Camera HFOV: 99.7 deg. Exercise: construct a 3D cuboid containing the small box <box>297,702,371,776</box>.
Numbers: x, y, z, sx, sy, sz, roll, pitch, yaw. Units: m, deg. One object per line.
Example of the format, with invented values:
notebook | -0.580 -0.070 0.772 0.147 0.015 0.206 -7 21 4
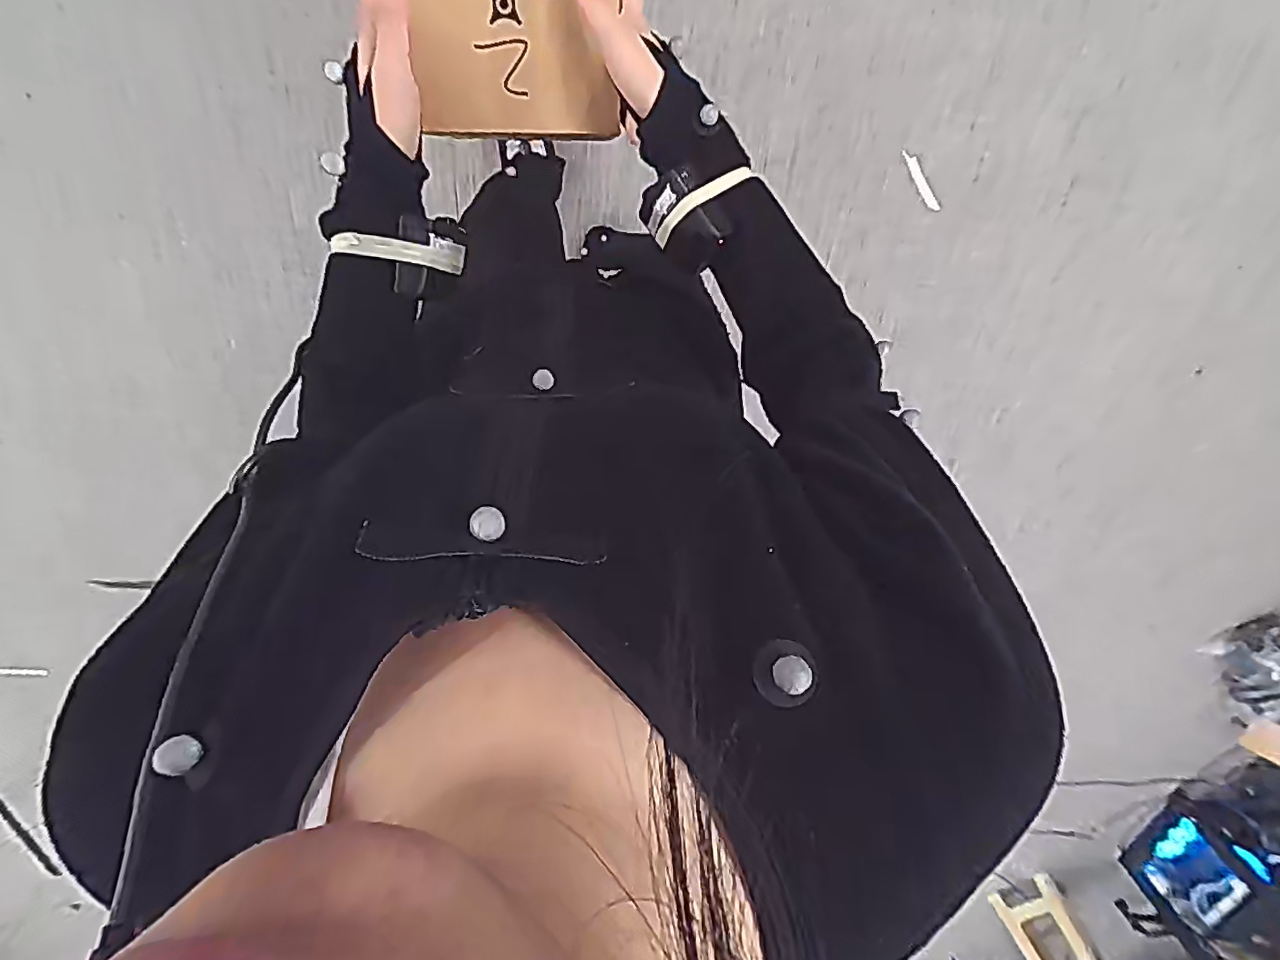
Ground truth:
small box | -1.119 0.945 1.984 0.179 0.176 0.168 17 116 -14
